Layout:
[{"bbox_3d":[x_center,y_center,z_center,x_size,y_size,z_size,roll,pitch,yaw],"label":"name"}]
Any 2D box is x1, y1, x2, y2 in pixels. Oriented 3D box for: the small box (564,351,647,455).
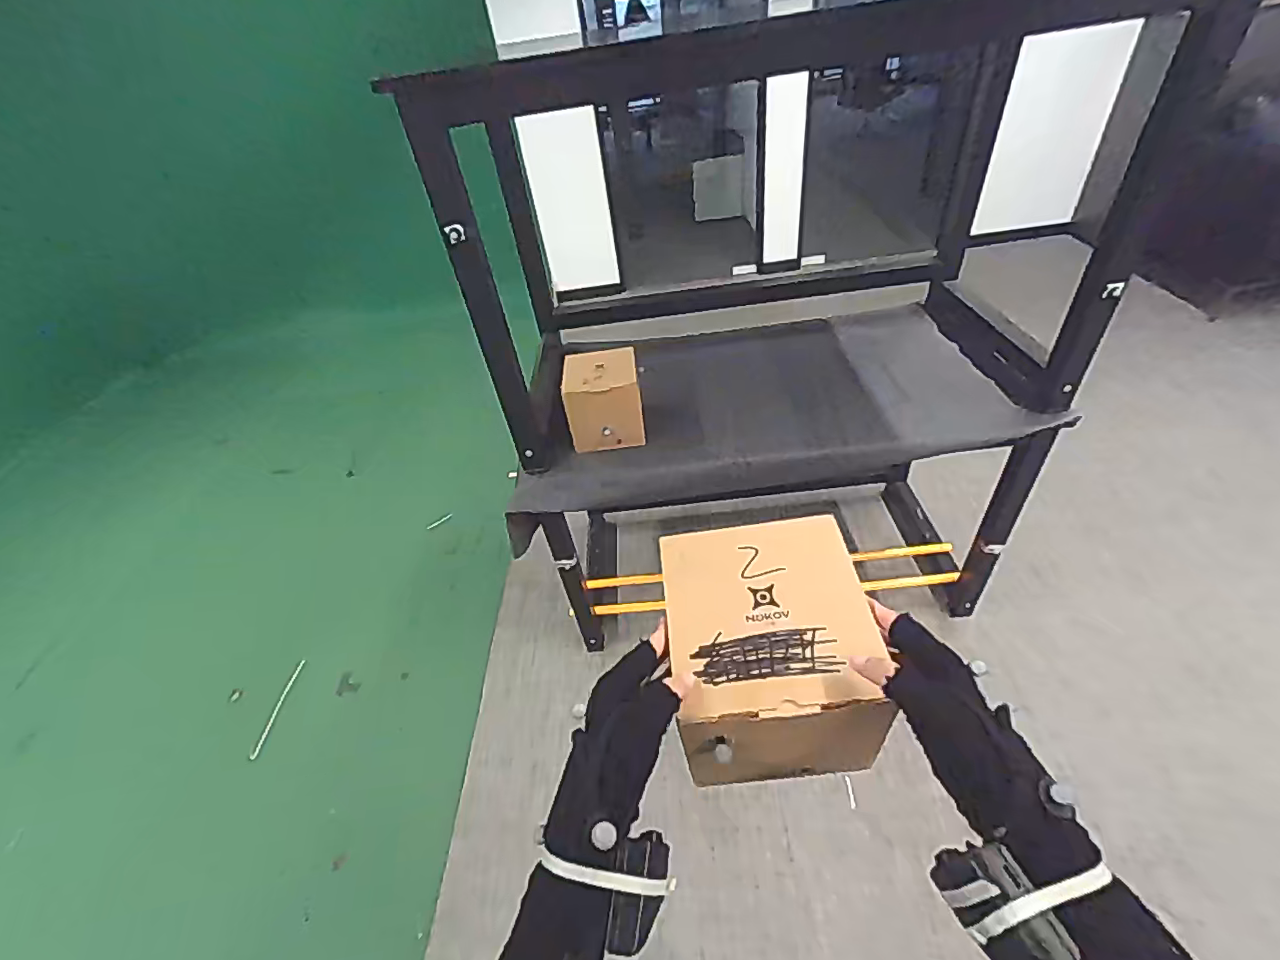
[{"bbox_3d":[-0.077,-0.180,1.273,0.168,0.176,0.179,-8,40,3],"label":"small box"}]
